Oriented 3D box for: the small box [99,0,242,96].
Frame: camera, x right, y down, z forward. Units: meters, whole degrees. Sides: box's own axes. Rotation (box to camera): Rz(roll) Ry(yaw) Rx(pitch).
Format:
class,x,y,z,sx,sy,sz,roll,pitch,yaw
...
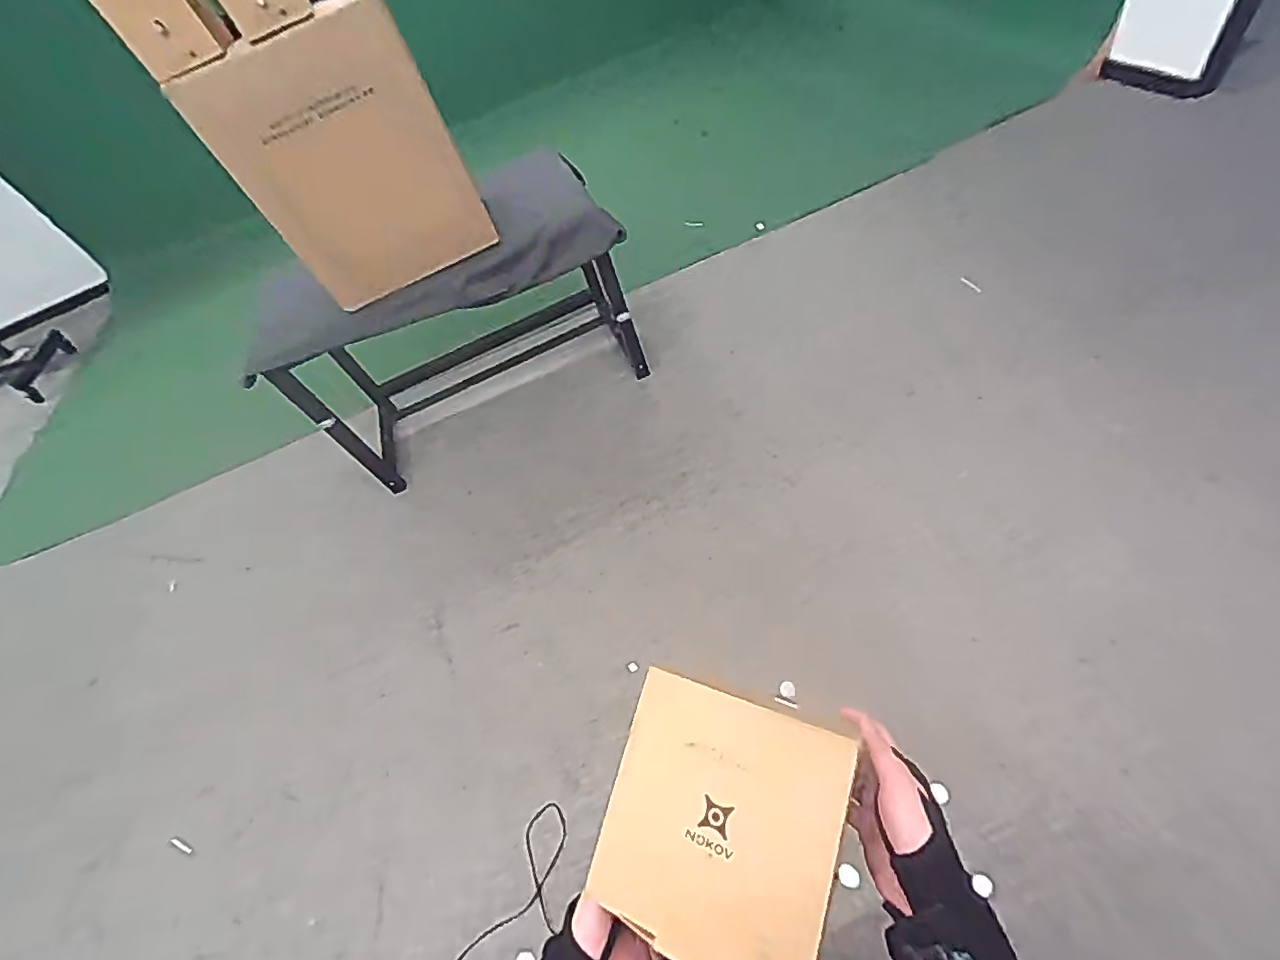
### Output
class,x,y,z,sx,sy,sz,roll,pitch,yaw
small box,-1.051,-1.013,1.230,0.168,0.176,0.179,-26,51,0
